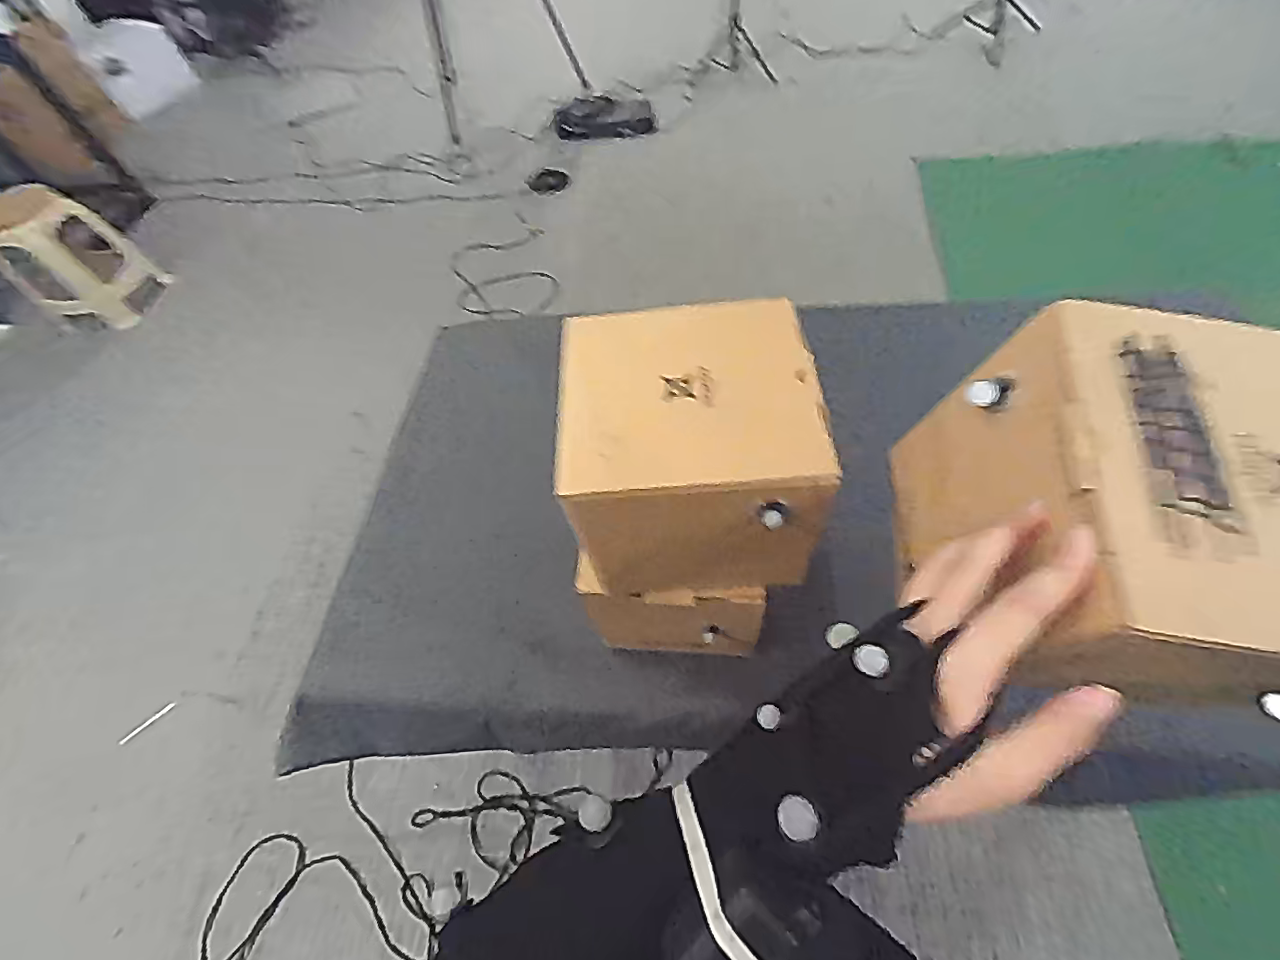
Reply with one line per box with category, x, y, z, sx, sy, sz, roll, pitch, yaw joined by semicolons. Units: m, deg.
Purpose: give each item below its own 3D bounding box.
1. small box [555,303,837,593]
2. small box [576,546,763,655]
small box;0.039;-0.017;0.439;0.179;0.176;0.168;-5;56;3
small box;0.039;0.076;0.573;0.168;0.176;0.179;1;56;7
